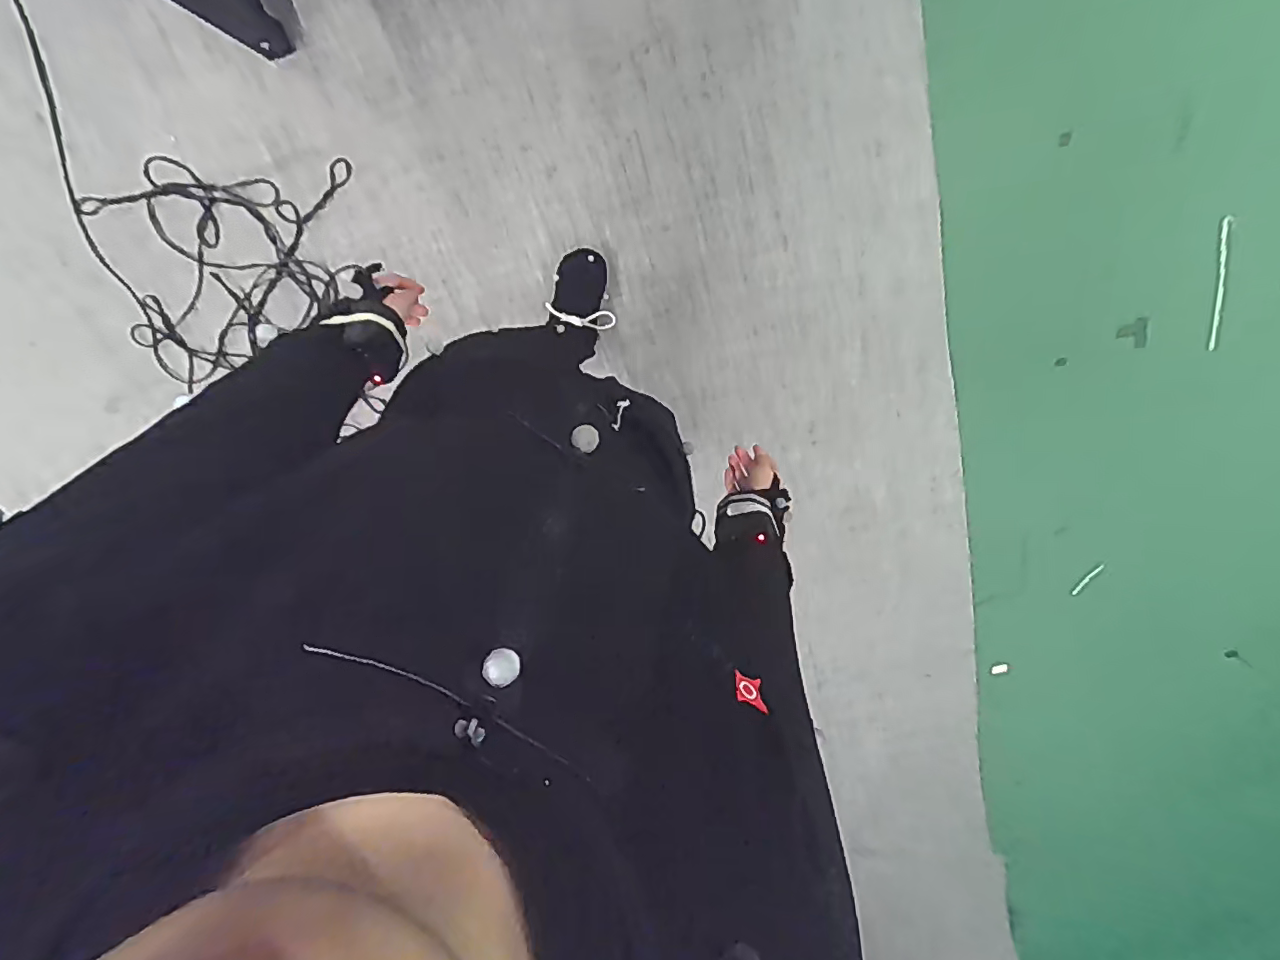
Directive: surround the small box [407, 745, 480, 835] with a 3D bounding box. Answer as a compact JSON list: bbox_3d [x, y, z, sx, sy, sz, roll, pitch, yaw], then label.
[{"bbox_3d":[-0.590,0.939,1.642,0.168,0.176,0.179,2,111,-4],"label":"small box"}]
